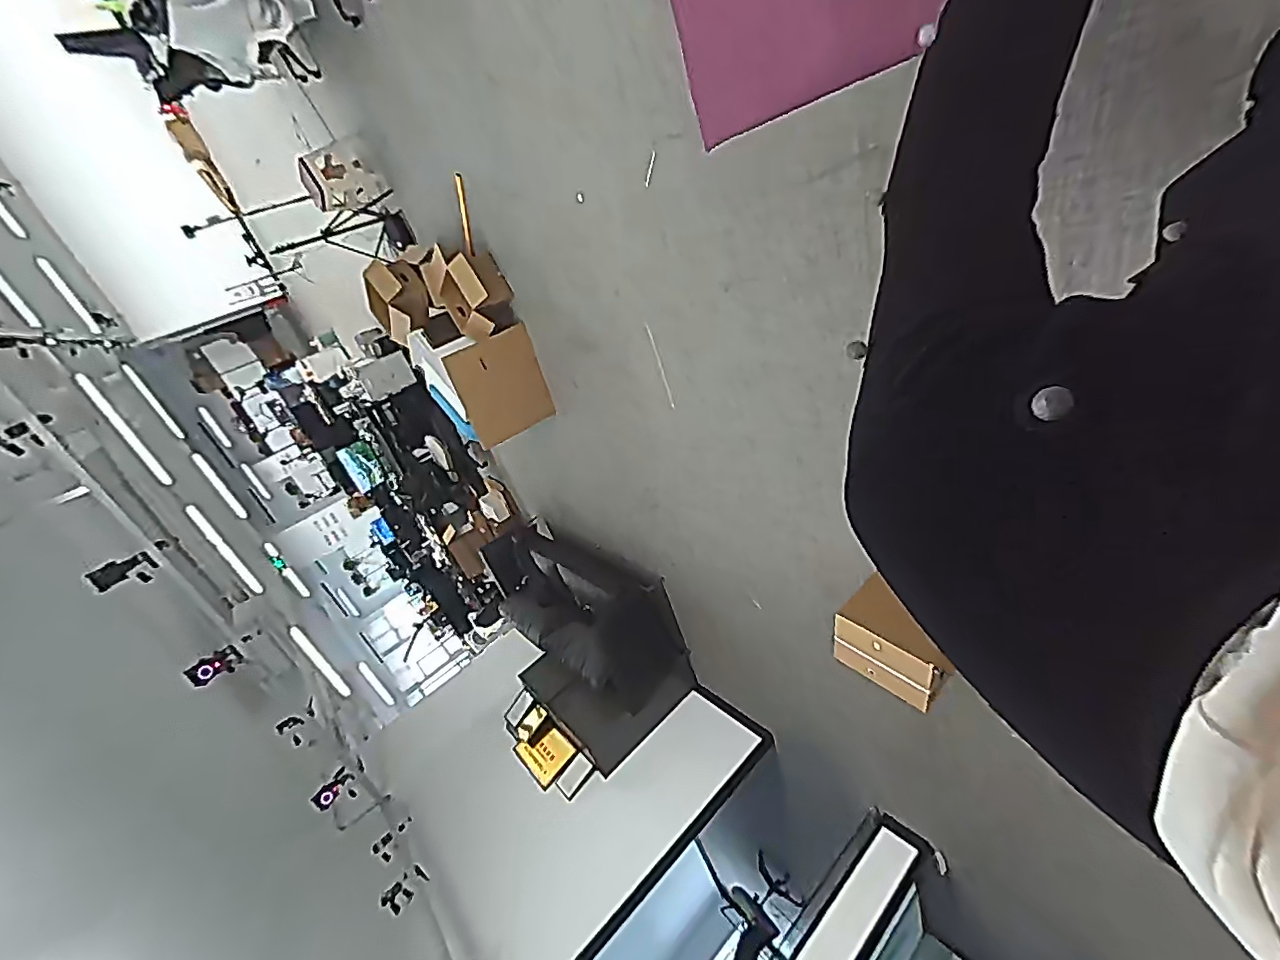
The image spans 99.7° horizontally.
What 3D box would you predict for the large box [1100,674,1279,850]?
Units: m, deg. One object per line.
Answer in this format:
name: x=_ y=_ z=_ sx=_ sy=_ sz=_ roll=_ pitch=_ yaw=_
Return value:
large box: x=1.637 y=0.766 z=1.504 sx=0.320 sy=0.320 sz=0.408 roll=53 pitch=152 yaw=2
